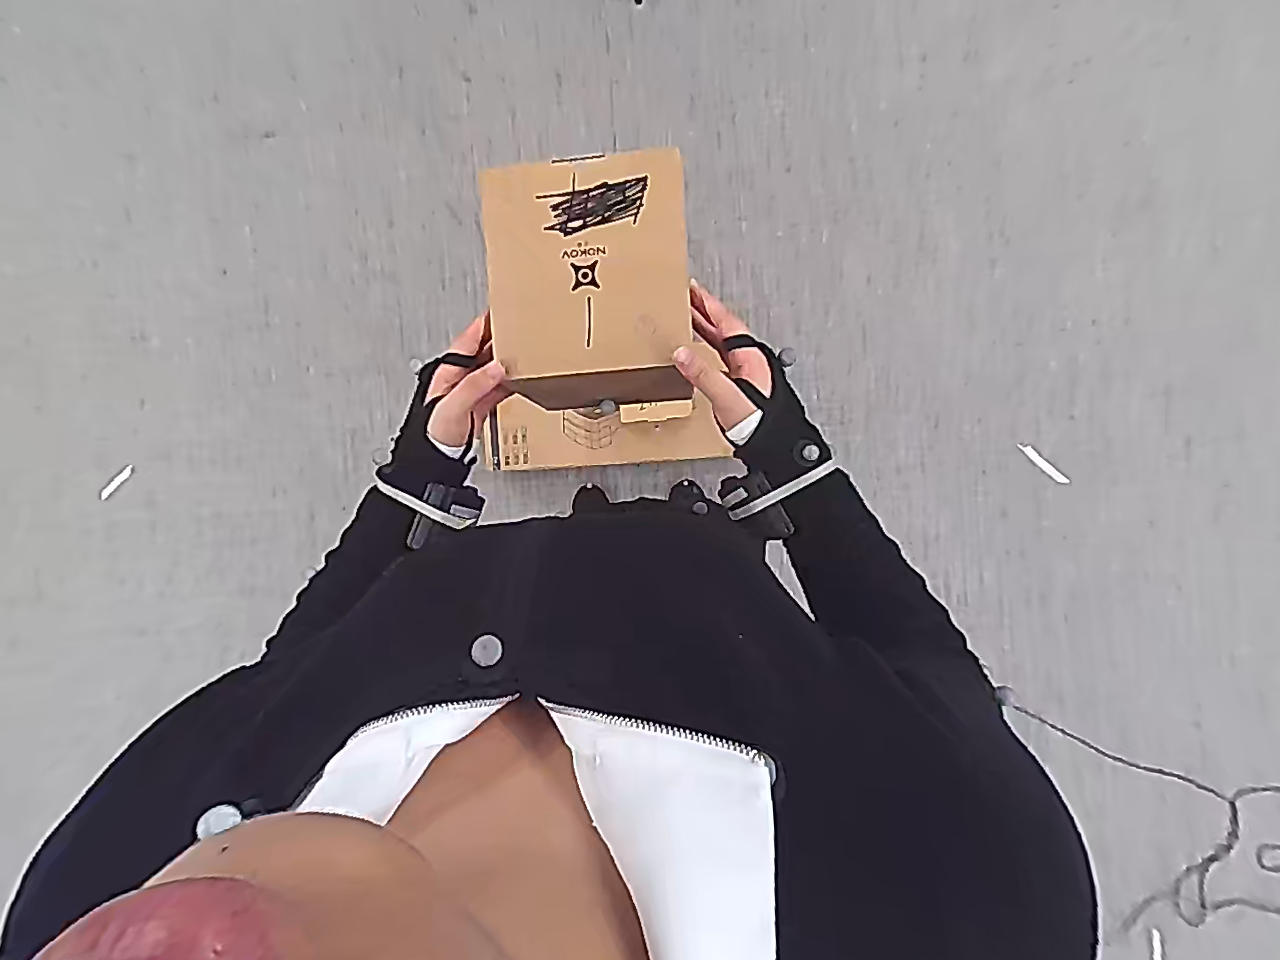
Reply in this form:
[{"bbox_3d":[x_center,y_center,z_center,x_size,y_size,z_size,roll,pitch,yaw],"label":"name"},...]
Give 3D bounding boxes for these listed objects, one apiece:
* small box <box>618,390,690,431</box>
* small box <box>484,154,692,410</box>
[{"bbox_3d":[0.030,-0.220,1.312,0.168,0.176,0.179,-5,89,3],"label":"small box"},{"bbox_3d":[-0.039,-0.171,0.517,0.168,0.176,0.179,-4,89,5],"label":"small box"}]
